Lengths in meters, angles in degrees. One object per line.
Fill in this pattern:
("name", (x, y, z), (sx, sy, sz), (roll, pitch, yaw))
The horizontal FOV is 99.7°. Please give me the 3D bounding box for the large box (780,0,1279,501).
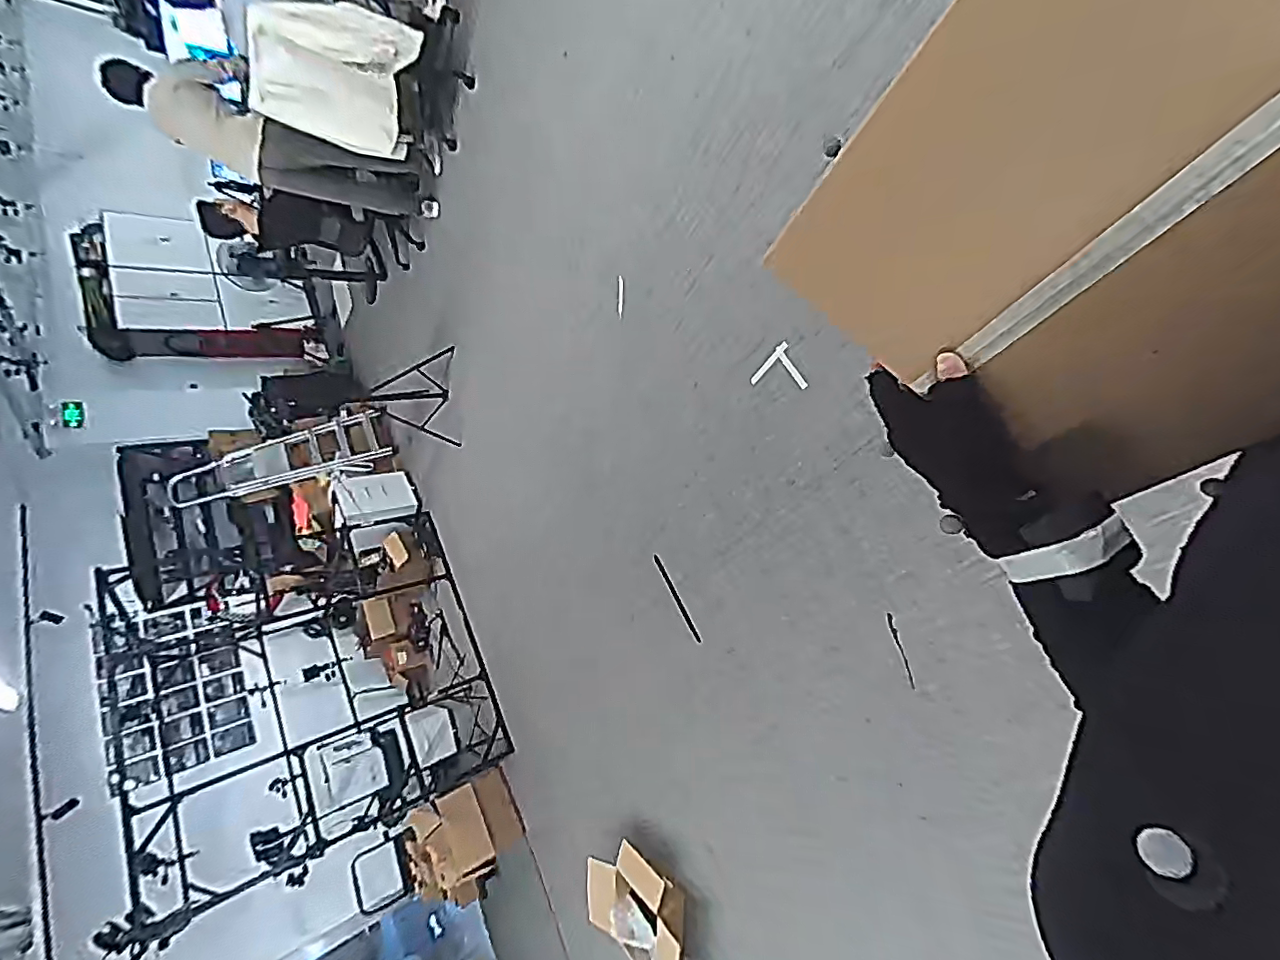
("large box", (0.373, -0.262, 0.369), (0.320, 0.320, 0.408), (38, 140, -2))
